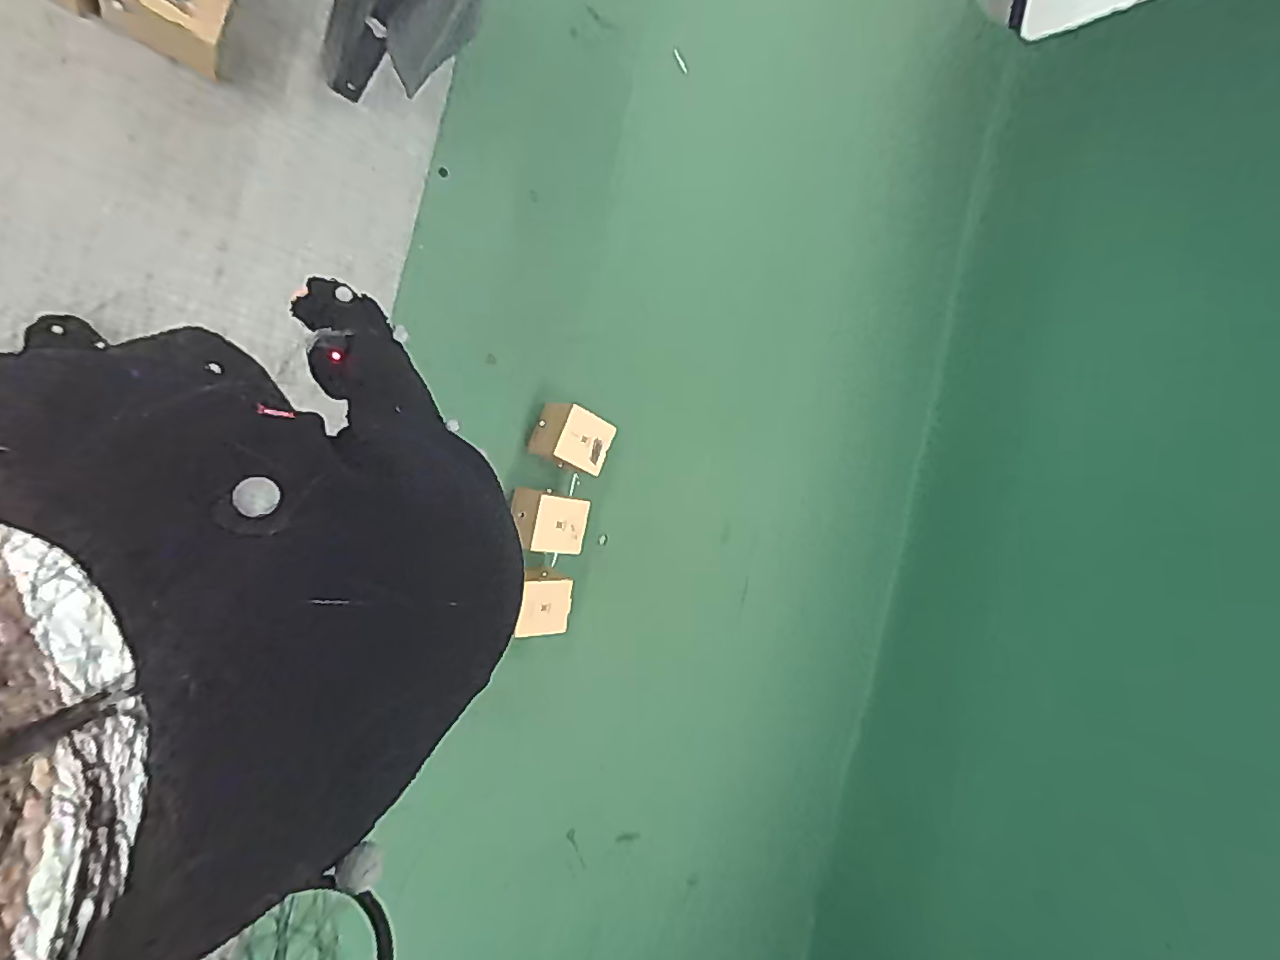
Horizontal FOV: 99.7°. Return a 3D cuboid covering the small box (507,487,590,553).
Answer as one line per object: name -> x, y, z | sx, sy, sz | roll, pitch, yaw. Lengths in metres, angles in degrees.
small box -> -0.284, 0.119, 1.649 | 0.179, 0.176, 0.168 | 11, 91, -41

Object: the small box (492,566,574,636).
small box -> -0.329, 0.363, 1.655 | 0.179, 0.176, 0.168 | 7, 92, -41

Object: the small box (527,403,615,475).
small box -> -0.215, -0.130, 1.668 | 0.179, 0.176, 0.168 | 27, 79, -39
